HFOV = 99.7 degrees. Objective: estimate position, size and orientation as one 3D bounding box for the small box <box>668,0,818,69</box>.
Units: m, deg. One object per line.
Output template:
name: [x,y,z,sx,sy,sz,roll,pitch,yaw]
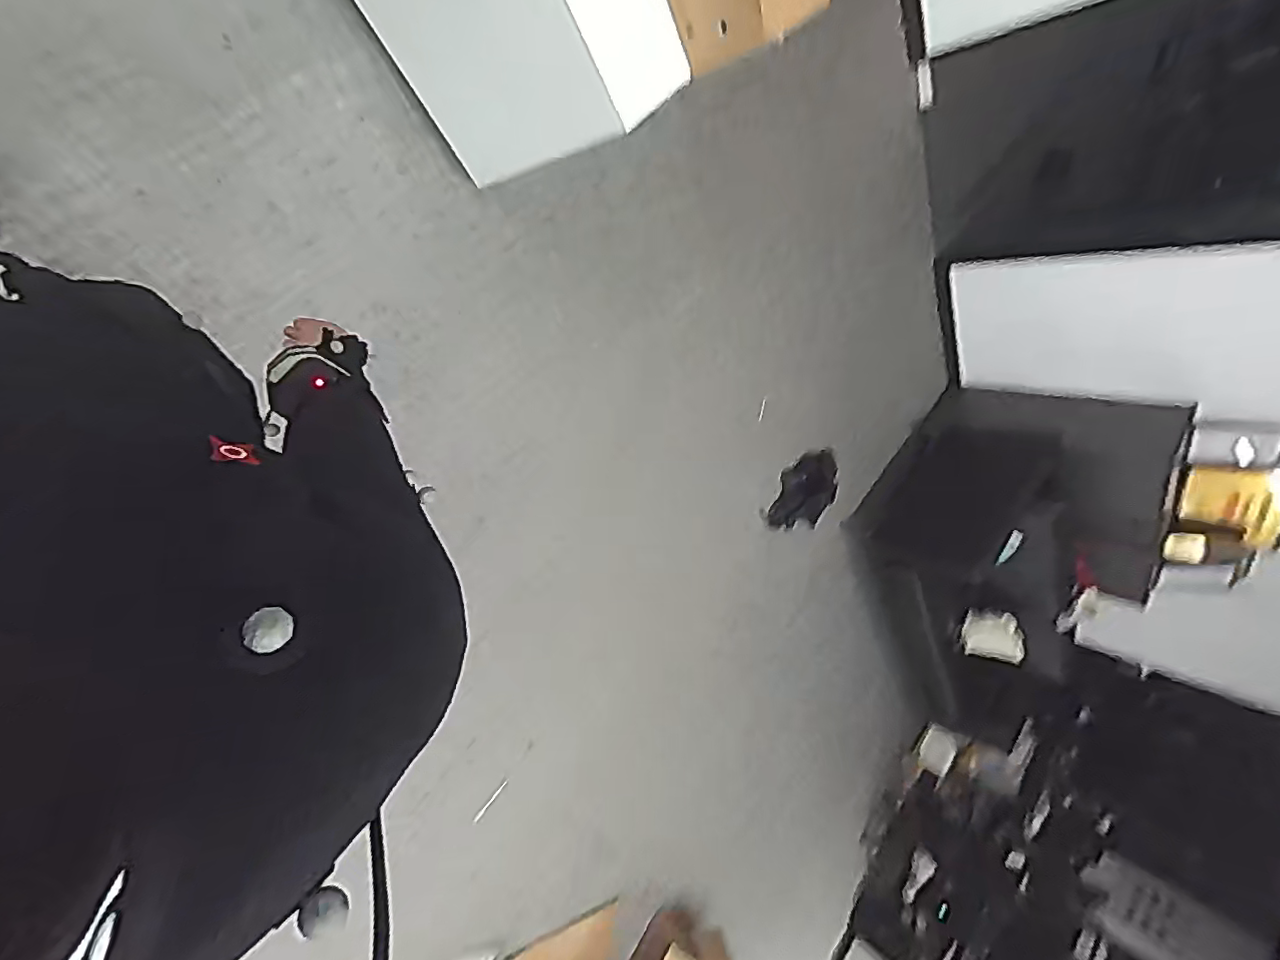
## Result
small box: [0.152,-0.785,0.841,0.179,0.176,0.168,-48,130,-21]
